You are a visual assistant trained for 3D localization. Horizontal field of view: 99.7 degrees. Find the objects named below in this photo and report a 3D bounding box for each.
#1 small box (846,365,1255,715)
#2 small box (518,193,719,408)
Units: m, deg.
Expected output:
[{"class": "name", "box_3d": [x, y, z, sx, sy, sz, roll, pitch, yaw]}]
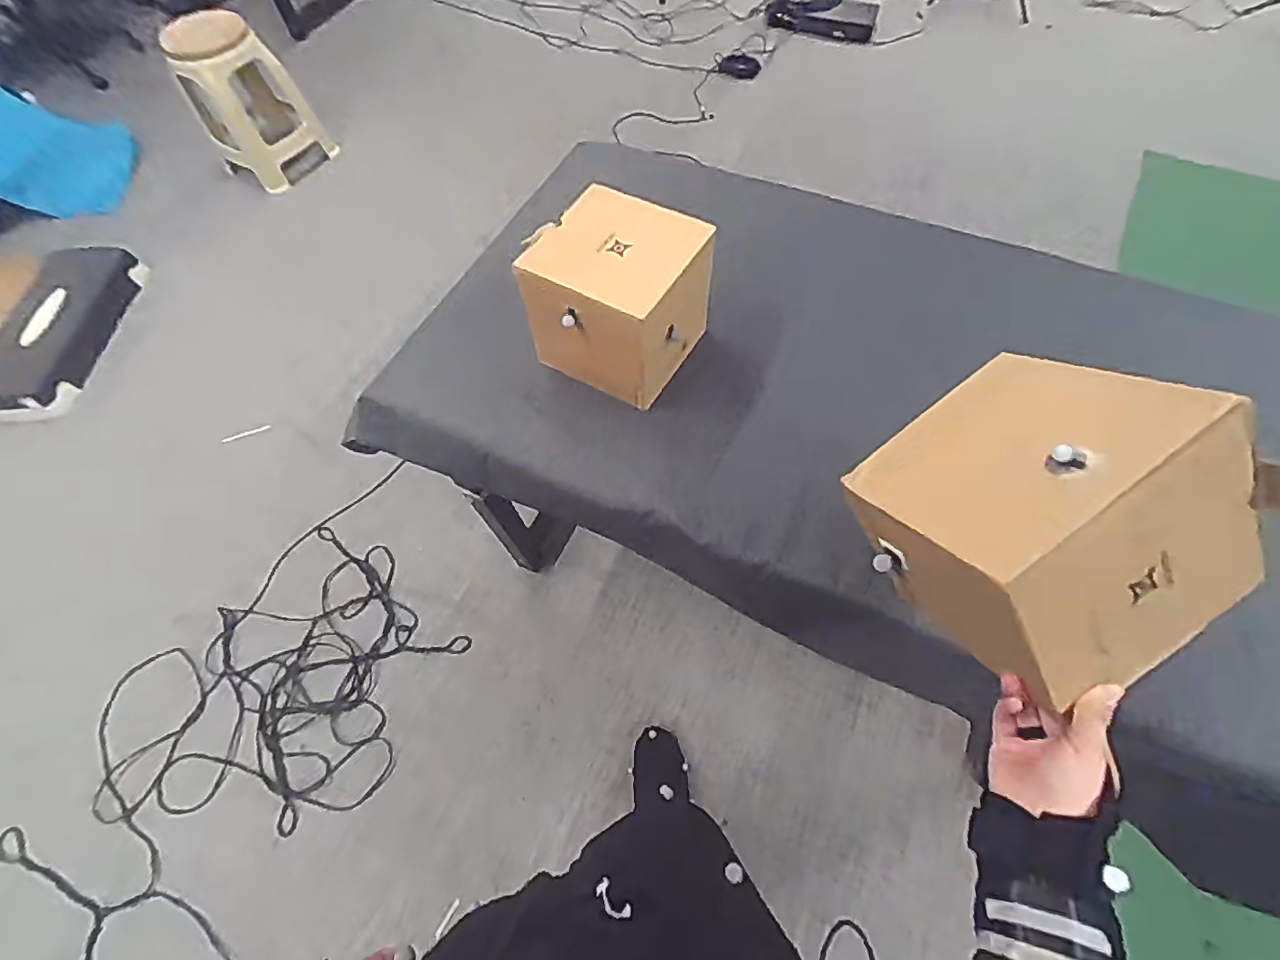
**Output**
[{"class": "small box", "box_3d": [0.302, 0.031, 0.422, 0.179, 0.168, 0.176, -38, 24, 1]}, {"class": "small box", "box_3d": [-0.020, -0.217, 0.684, 0.179, 0.176, 0.168, 28, 66, 16]}]
